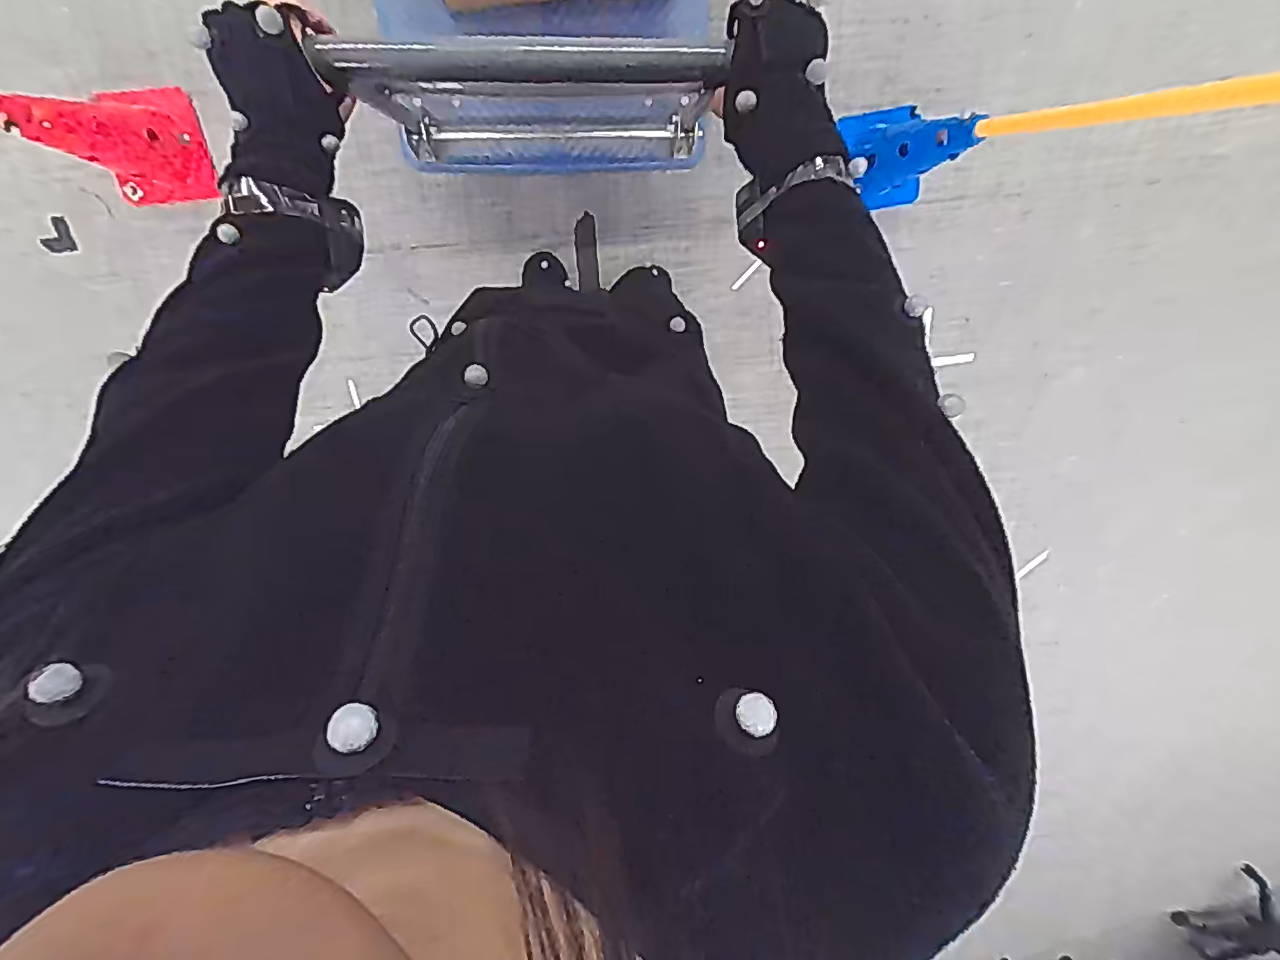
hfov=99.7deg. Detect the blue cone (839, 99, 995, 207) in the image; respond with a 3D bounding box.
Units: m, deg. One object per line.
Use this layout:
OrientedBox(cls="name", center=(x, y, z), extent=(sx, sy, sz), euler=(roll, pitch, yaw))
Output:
OrientedBox(cls="blue cone", center=(0.562, -0.673, 1.077), extent=(0.193, 0.380, 0.192), euler=(-9, 112, -2))
